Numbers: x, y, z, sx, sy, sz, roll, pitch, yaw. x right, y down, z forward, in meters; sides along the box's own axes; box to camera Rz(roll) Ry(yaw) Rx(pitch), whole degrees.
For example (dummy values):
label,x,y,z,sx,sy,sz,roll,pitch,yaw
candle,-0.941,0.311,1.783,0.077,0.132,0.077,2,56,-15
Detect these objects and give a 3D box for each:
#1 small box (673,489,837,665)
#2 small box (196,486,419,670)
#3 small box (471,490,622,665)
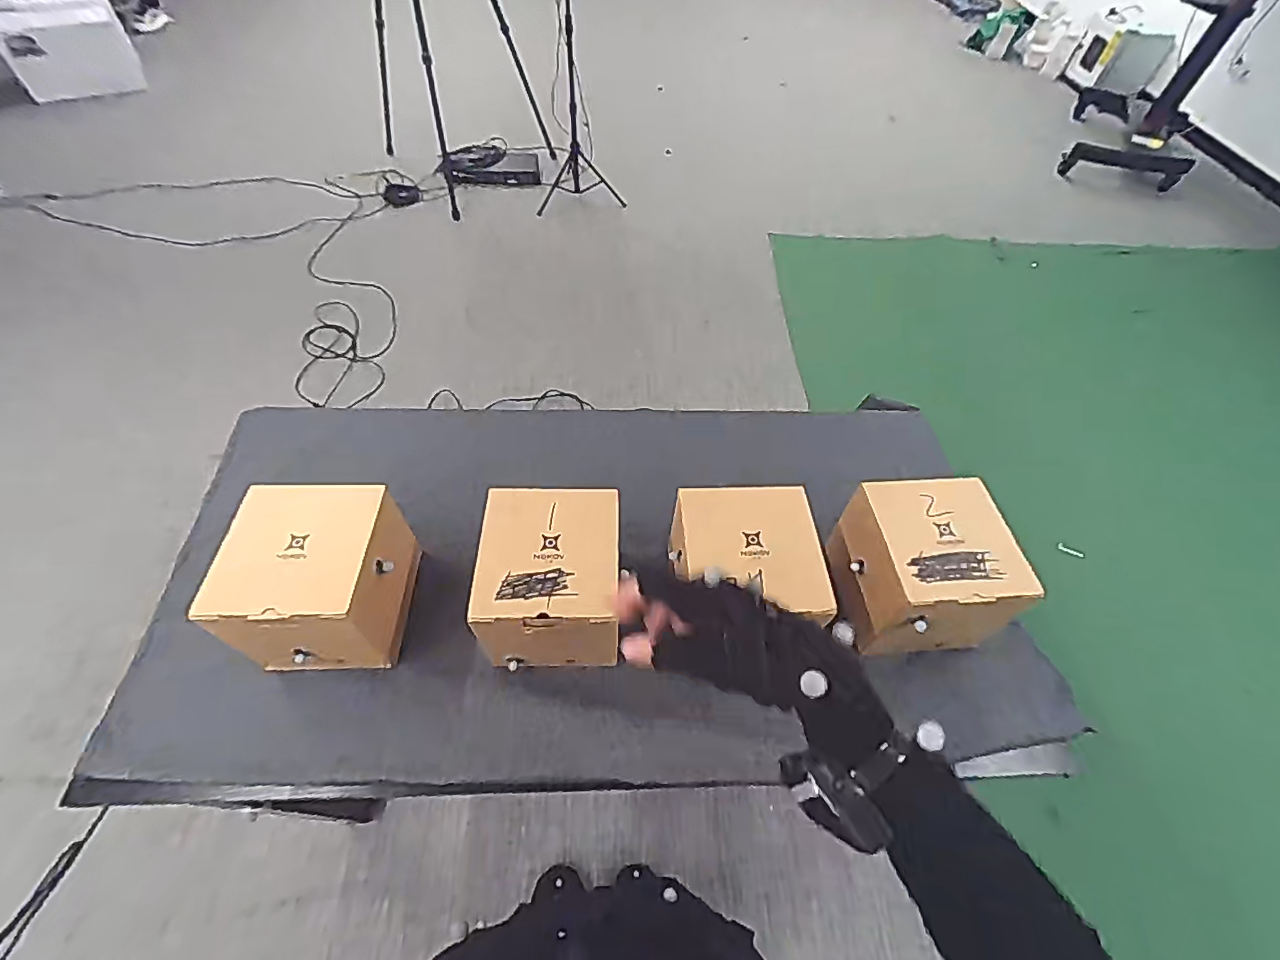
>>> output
label,x,y,z,sx,sy,sz,roll,pitch,yaw
small box,0.135,0.130,0.714,0.168,0.176,0.179,-2,54,-2
small box,-0.395,0.126,0.687,0.168,0.176,0.179,0,53,-4
small box,-0.107,0.131,0.700,0.168,0.176,0.179,1,53,-3
